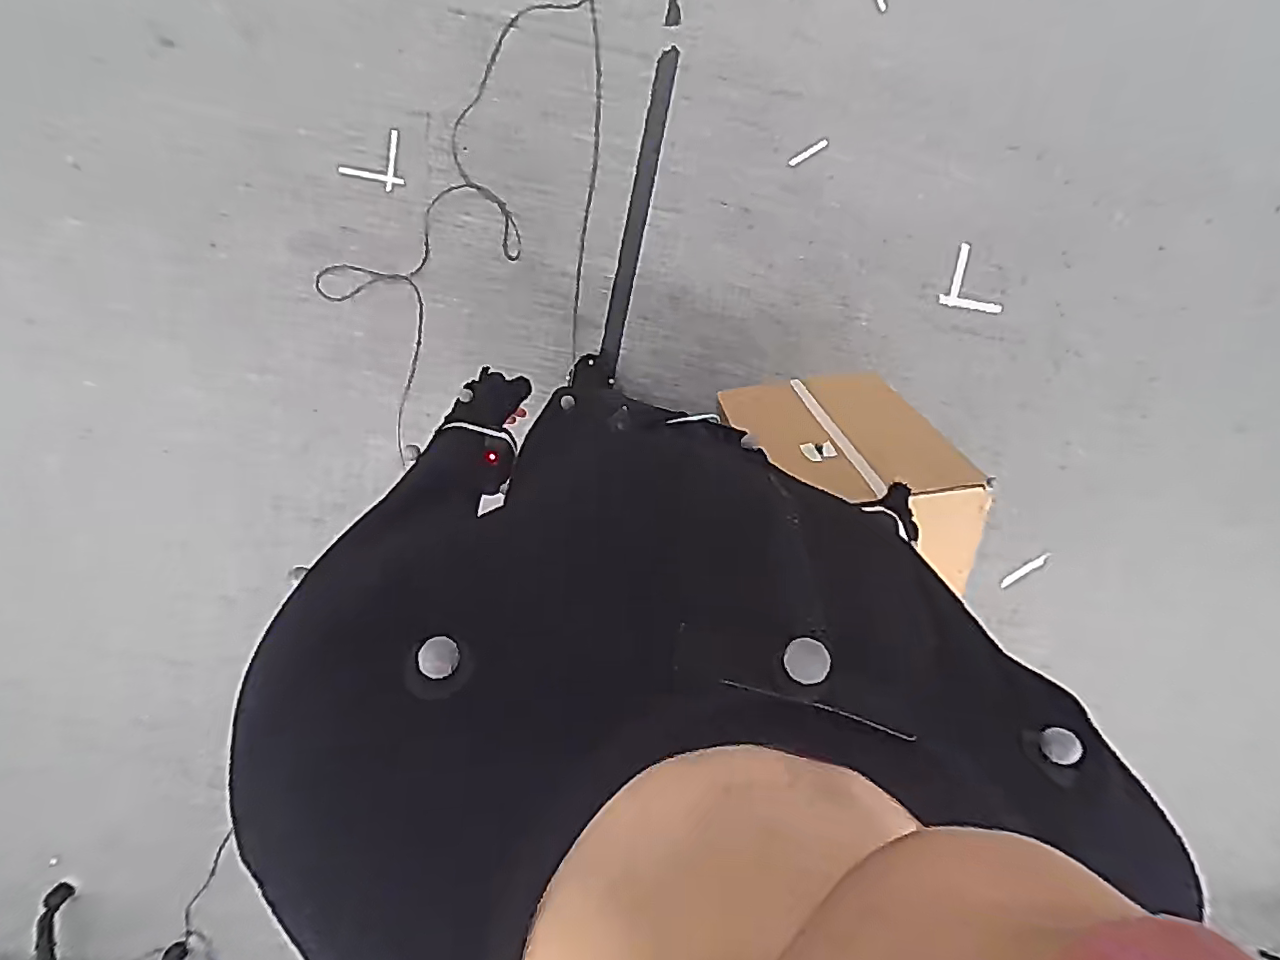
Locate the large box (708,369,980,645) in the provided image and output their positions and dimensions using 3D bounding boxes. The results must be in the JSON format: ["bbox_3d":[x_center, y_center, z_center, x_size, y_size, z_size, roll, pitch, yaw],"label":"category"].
[{"bbox_3d":[0.324,0.032,1.004,0.320,0.408,0.320,-9,125,-1],"label":"large box"}]
